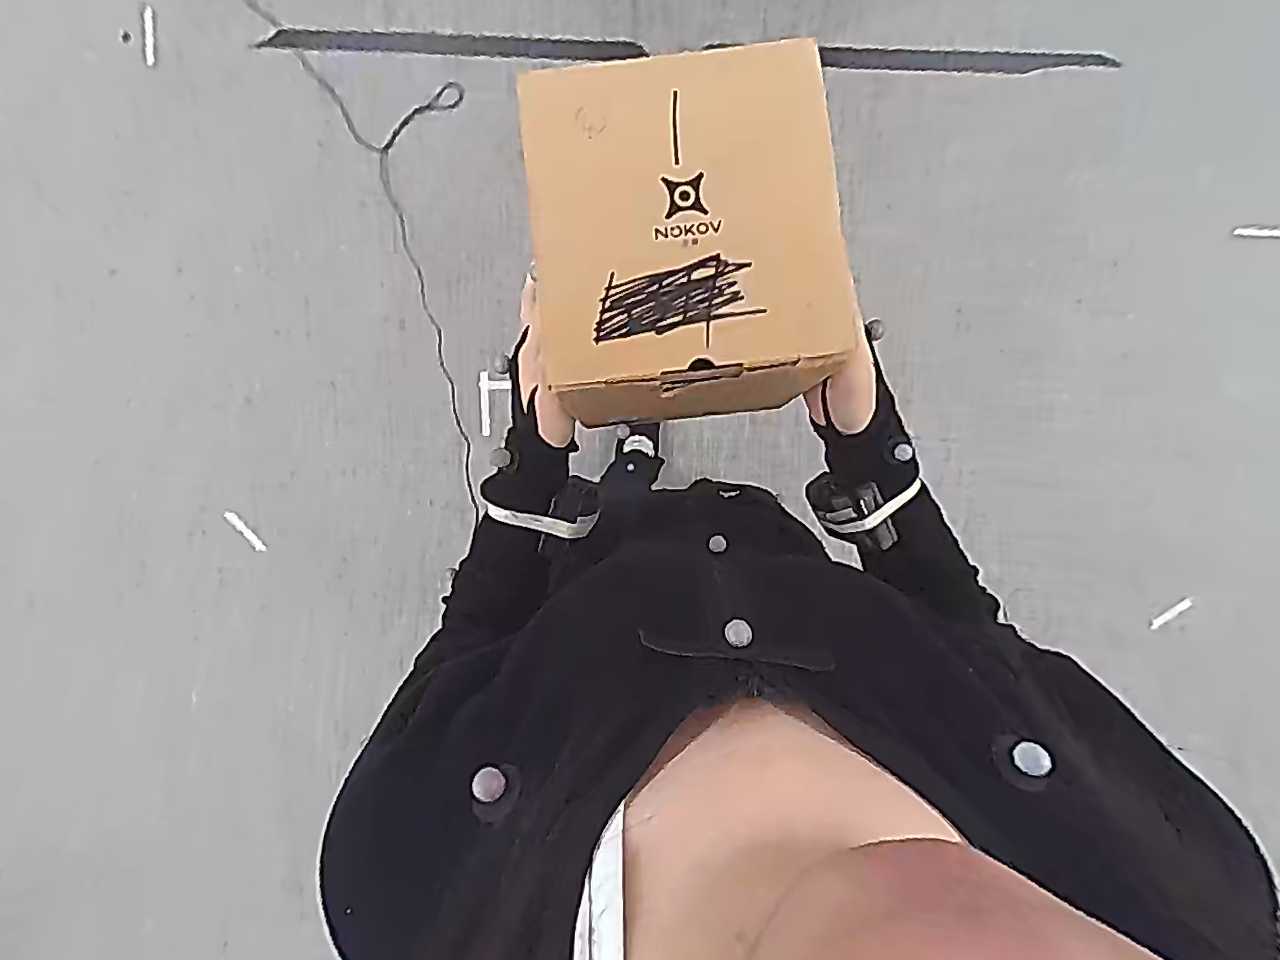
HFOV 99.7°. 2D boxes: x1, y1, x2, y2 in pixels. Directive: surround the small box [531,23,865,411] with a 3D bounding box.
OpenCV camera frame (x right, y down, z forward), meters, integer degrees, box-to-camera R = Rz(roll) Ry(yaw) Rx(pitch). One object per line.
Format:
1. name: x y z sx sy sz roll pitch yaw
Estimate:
1. small box: 0.033 -0.149 0.371 0.168 0.176 0.179 -7 87 2
